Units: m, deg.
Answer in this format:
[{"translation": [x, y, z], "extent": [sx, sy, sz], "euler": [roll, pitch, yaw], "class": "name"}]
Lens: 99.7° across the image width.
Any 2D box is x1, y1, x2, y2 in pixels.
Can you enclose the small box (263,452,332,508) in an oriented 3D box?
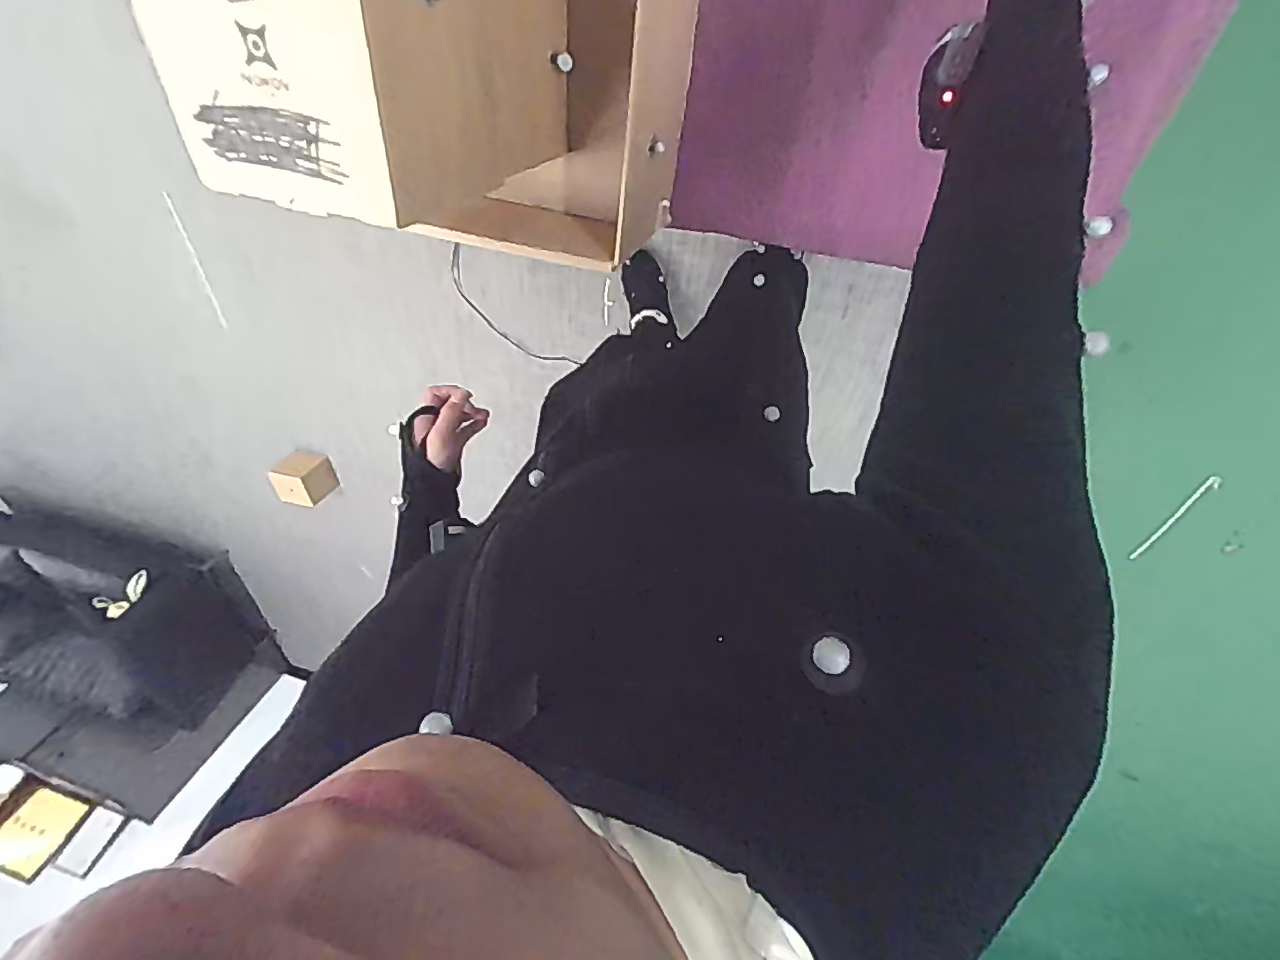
[{"translation": [-1.484, -0.005, 2.363], "extent": [0.179, 0.176, 0.168], "euler": [11, 129, 12], "class": "small box"}]
